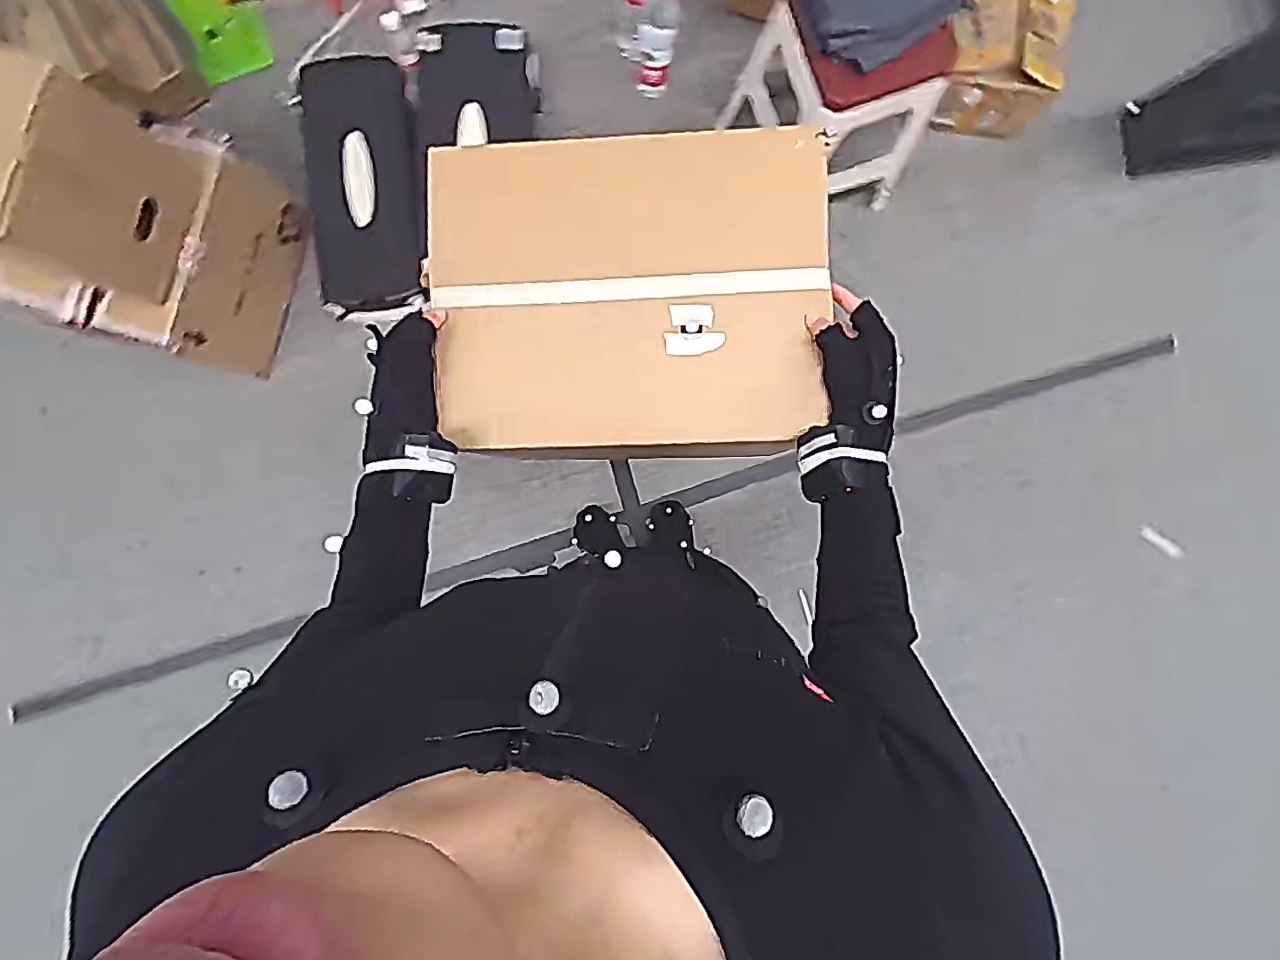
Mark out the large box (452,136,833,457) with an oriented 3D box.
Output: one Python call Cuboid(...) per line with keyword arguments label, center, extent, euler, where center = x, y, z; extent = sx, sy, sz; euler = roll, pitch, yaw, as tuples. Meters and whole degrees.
Cuboid(label="large box", center=(0.005, -0.198, 0.717), extent=(0.408, 0.320, 0.320), euler=(-1, 90, 3))
